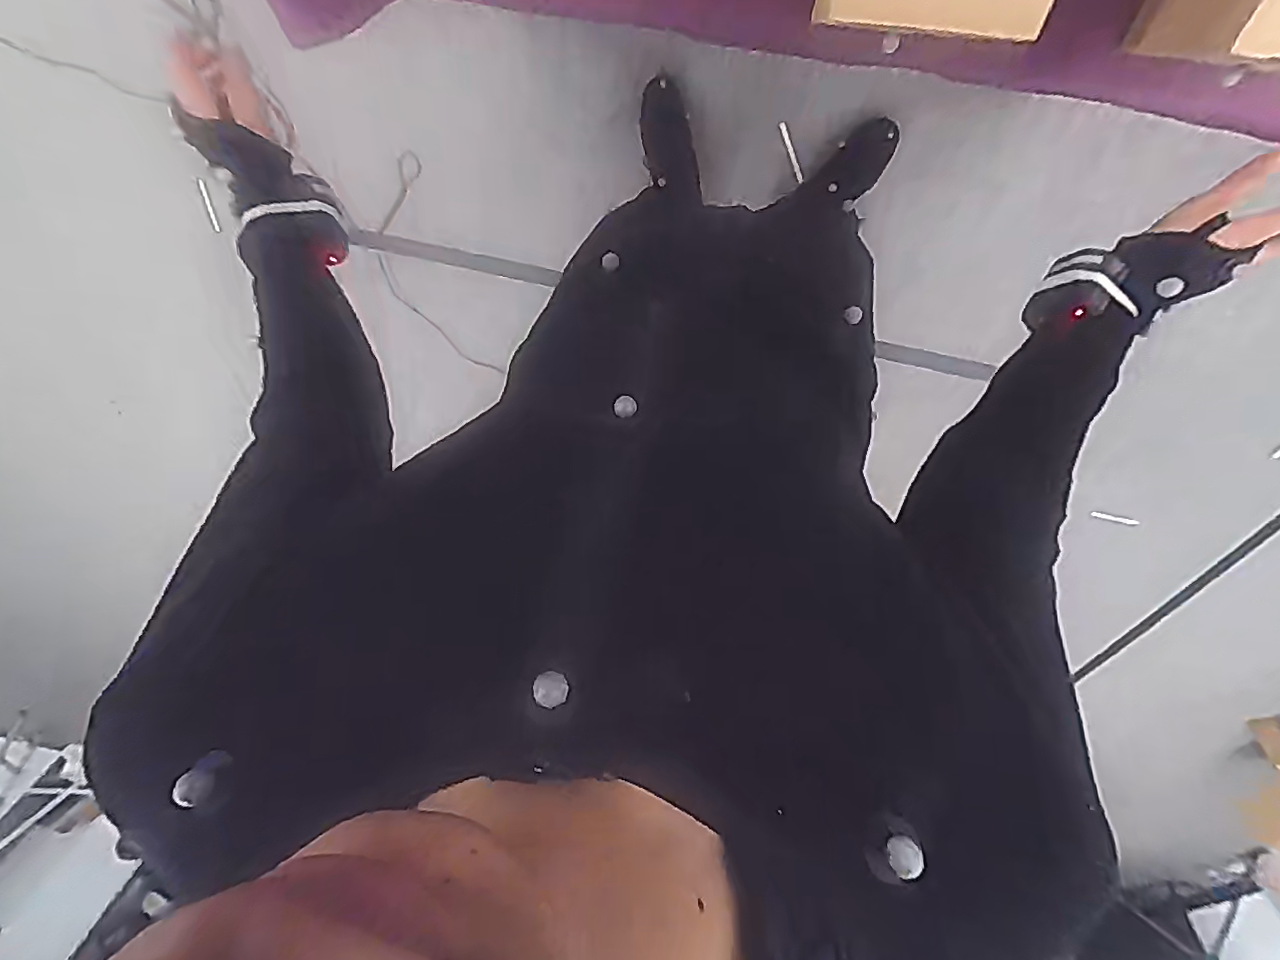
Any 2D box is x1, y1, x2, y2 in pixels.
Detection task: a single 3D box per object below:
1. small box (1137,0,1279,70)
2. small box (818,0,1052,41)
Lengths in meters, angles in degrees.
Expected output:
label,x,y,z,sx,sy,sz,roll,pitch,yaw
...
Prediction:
label,x,y,z,sx,sy,sz,roll,pitch,yaw
small box,0.546,-0.425,0.408,0.168,0.176,0.179,12,131,4
small box,0.250,-0.474,0.434,0.168,0.176,0.179,10,131,5
